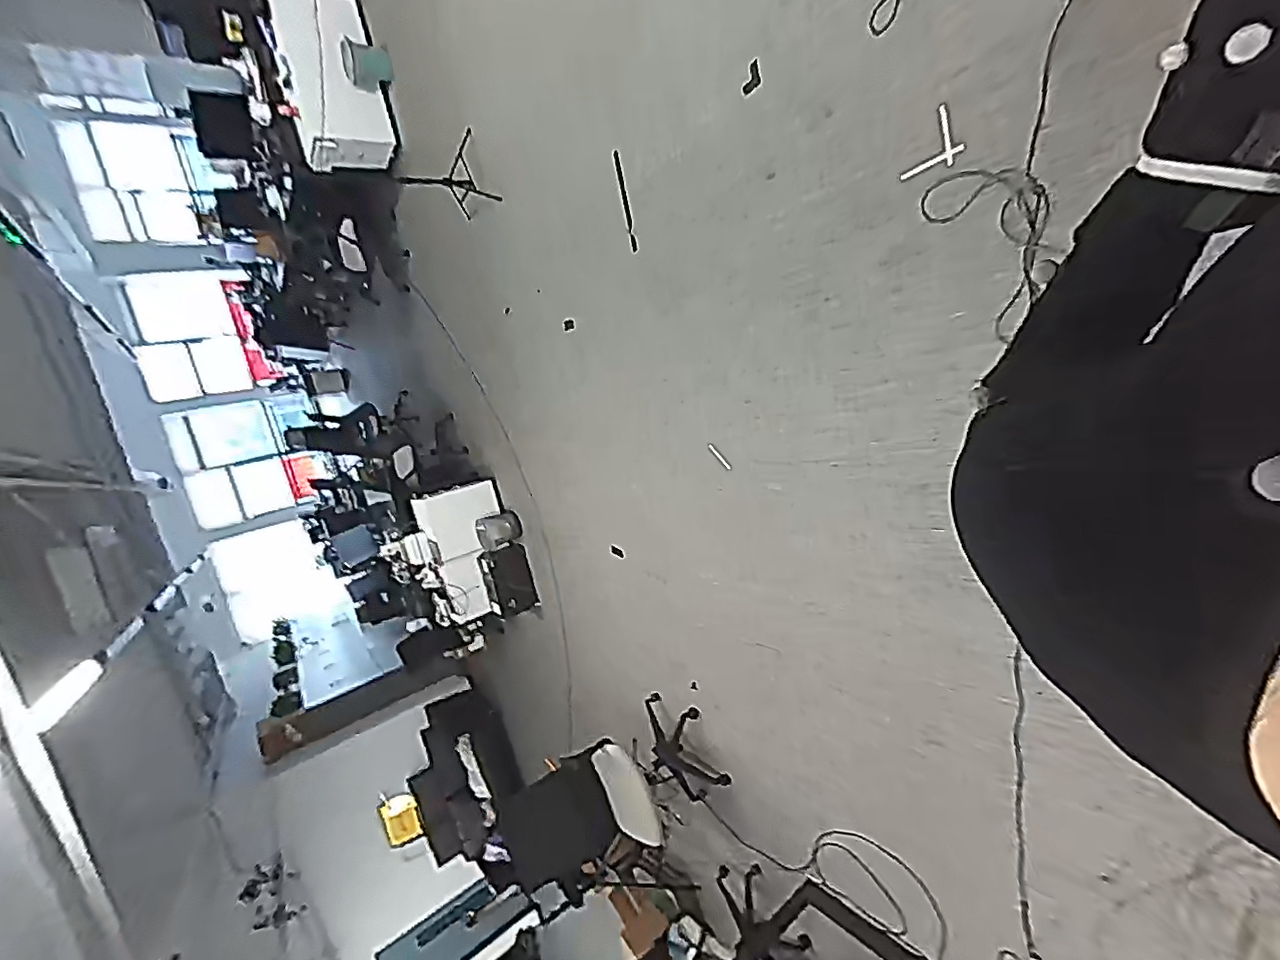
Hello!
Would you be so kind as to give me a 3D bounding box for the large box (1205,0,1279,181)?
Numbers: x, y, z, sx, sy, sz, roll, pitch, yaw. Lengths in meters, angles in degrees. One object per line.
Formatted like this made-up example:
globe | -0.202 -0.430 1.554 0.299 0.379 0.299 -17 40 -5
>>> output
large box | 1.041 -0.645 0.687 0.408 0.320 0.320 -6 99 55
